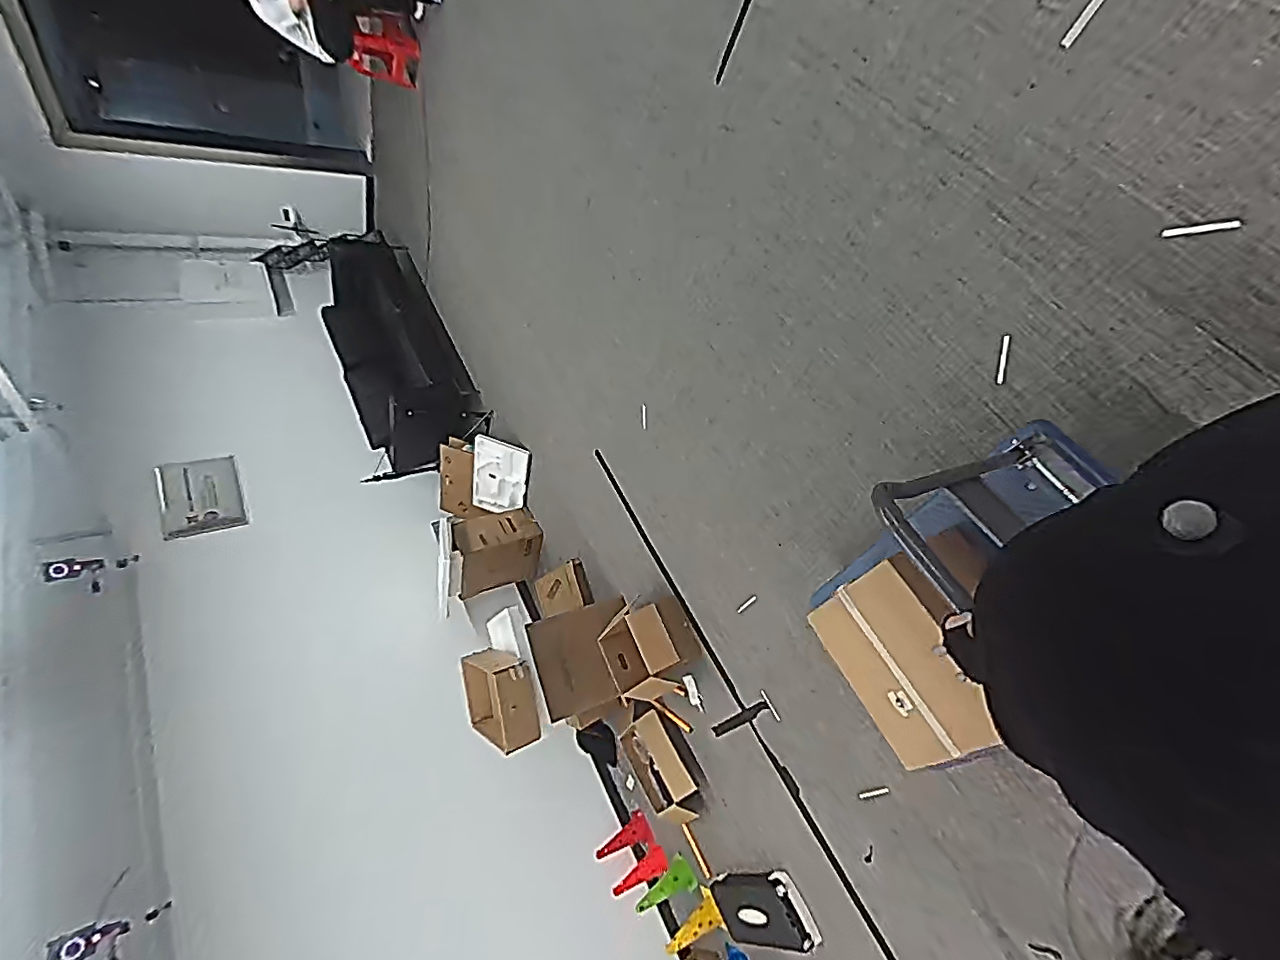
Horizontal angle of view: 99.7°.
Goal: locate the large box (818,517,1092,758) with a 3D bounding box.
[{"bbox_3d":[0.722,0.358,1.280,0.408,0.320,0.320,59,144,24],"label":"large box"}]
